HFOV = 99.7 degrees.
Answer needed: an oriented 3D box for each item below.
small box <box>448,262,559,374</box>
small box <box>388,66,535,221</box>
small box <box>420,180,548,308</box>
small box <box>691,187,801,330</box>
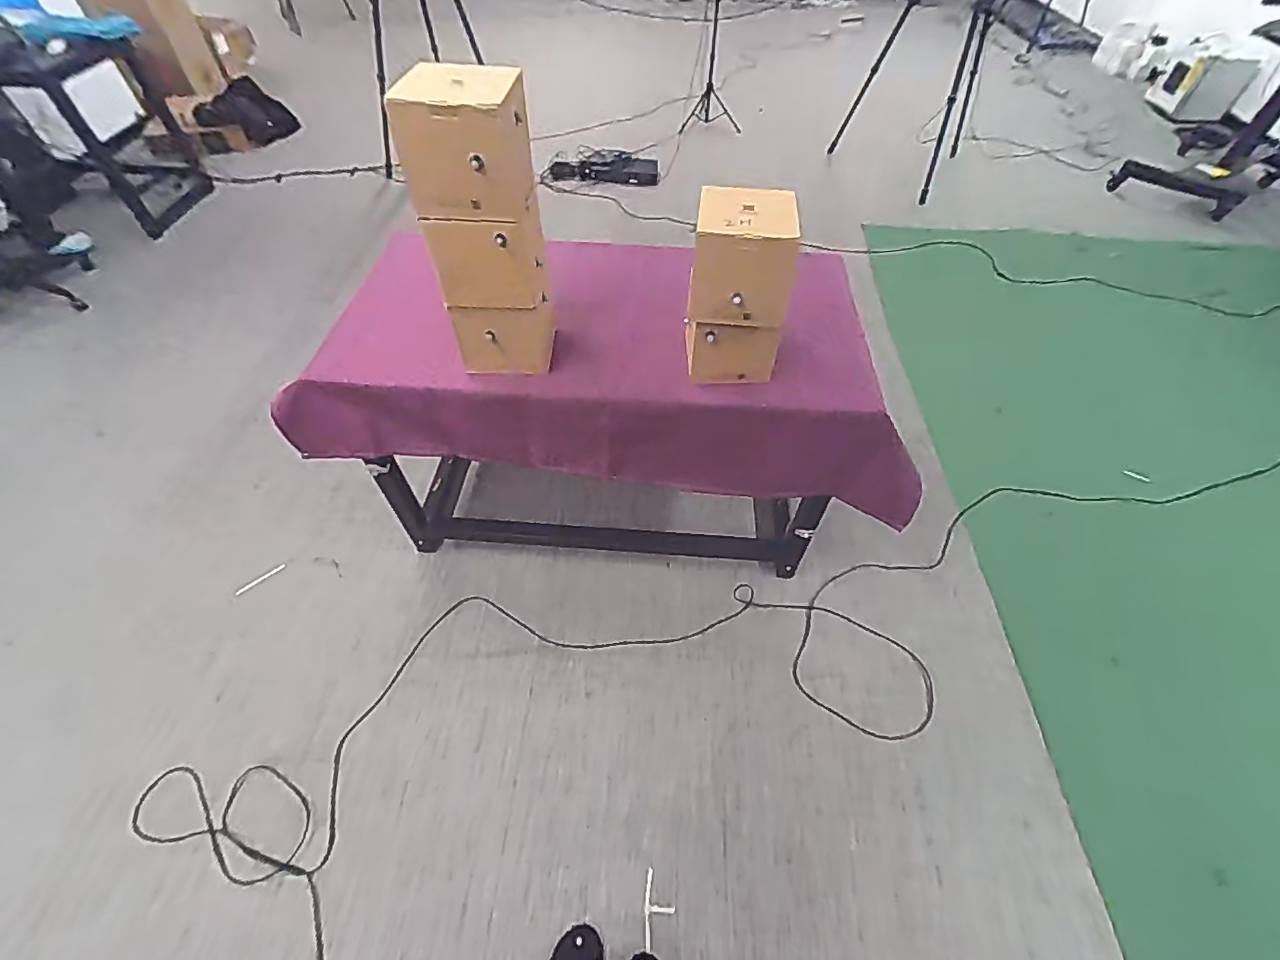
[{"bbox_3d":[-0.274,-0.337,1.127,0.179,0.176,0.168,1,52,1],"label":"small box"},{"bbox_3d":[-0.270,-0.539,0.871,0.168,0.176,0.179,4,50,1],"label":"small box"},{"bbox_3d":[-0.274,-0.435,0.996,0.179,0.176,0.168,2,51,0],"label":"small box"},{"bbox_3d":[0.183,-0.395,0.966,0.168,0.176,0.179,6,51,5],"label":"small box"}]
